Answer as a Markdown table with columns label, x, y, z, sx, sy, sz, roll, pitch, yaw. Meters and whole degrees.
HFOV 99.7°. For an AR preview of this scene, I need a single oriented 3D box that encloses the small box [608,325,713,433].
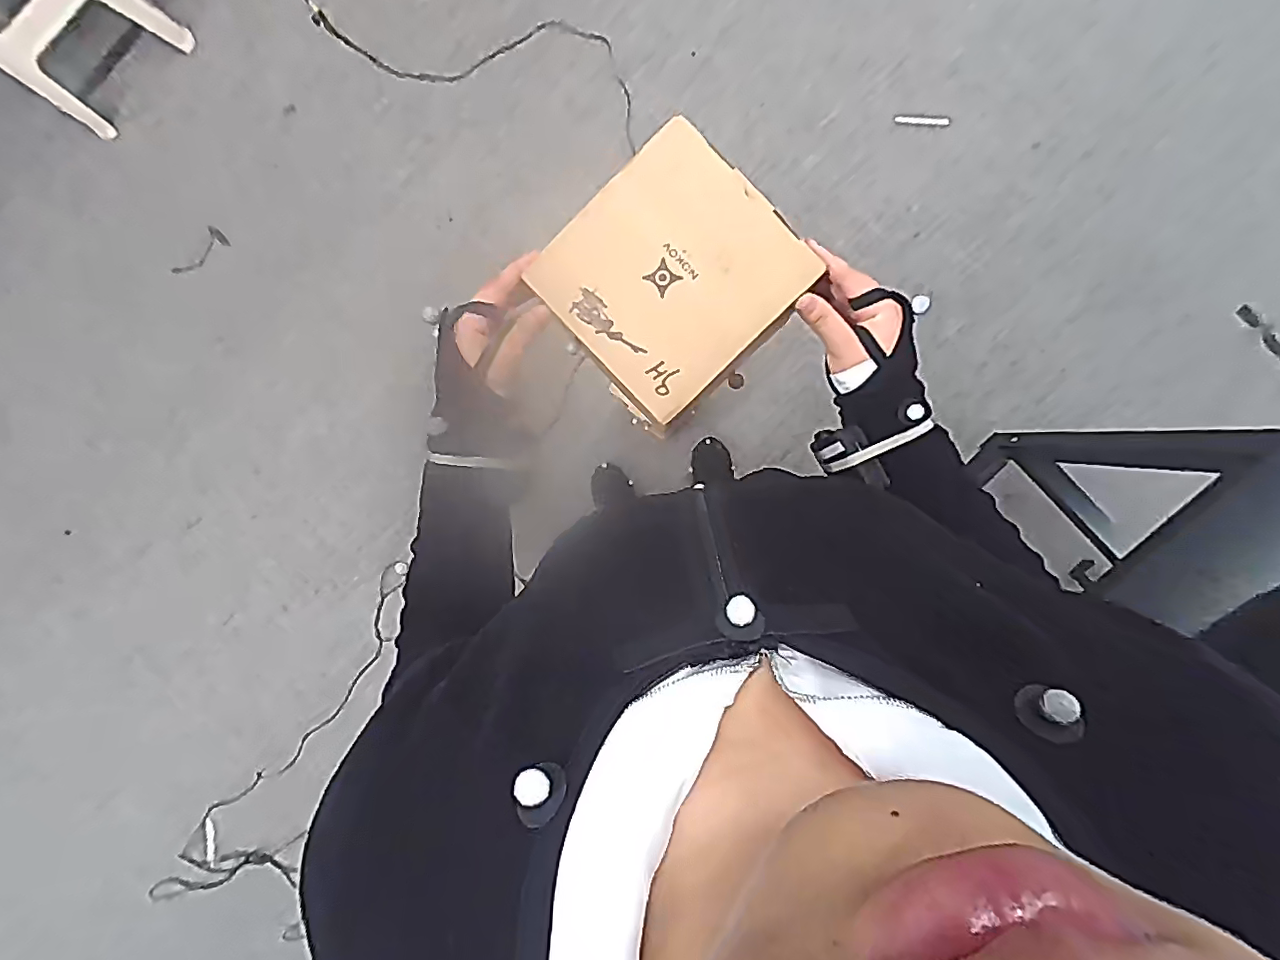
| label | x | y | z | sx | sy | sz | roll | pitch | yaw |
| --- | --- | --- | --- | --- | --- | --- | --- | --- | --- |
| small box | 0.048 | -0.222 | 1.248 | 0.168 | 0.176 | 0.179 | 38 | 94 | -1 |

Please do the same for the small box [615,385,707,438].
| label | x | y | z | sx | sy | sz | roll | pitch | yaw |
| --- | --- | --- | --- | --- | --- | --- | --- | --- | --- |
| small box | 0.053 | -0.227 | 1.410 | 0.168 | 0.176 | 0.179 | 42 | 96 | 0 |
